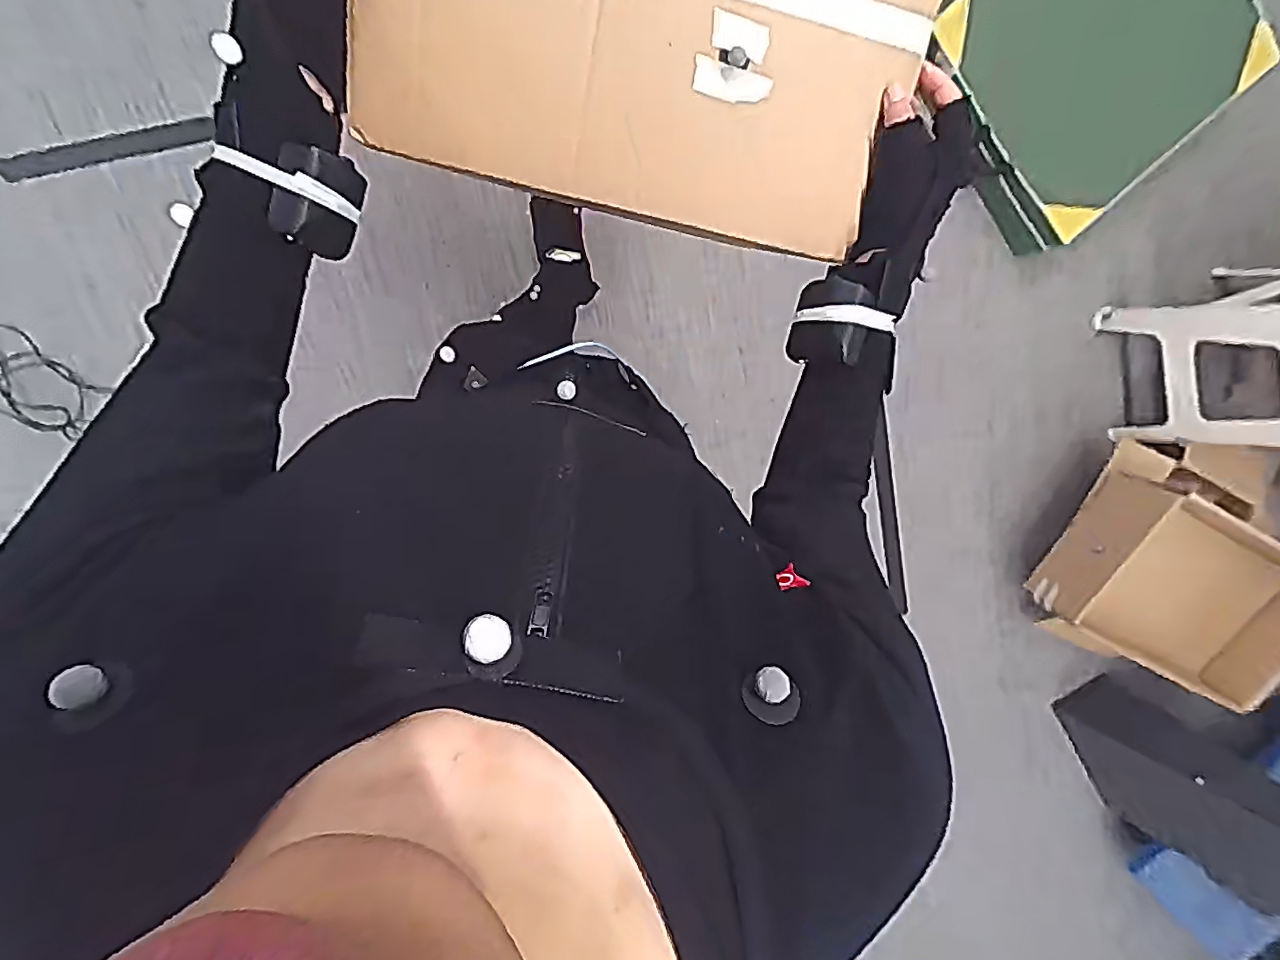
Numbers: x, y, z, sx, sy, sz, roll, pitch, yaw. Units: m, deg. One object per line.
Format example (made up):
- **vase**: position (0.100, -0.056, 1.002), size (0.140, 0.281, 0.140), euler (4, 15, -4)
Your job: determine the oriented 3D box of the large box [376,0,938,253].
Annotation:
- **large box**: position (0.010, -0.429, 0.515), size (0.408, 0.320, 0.320), euler (10, 116, -9)
